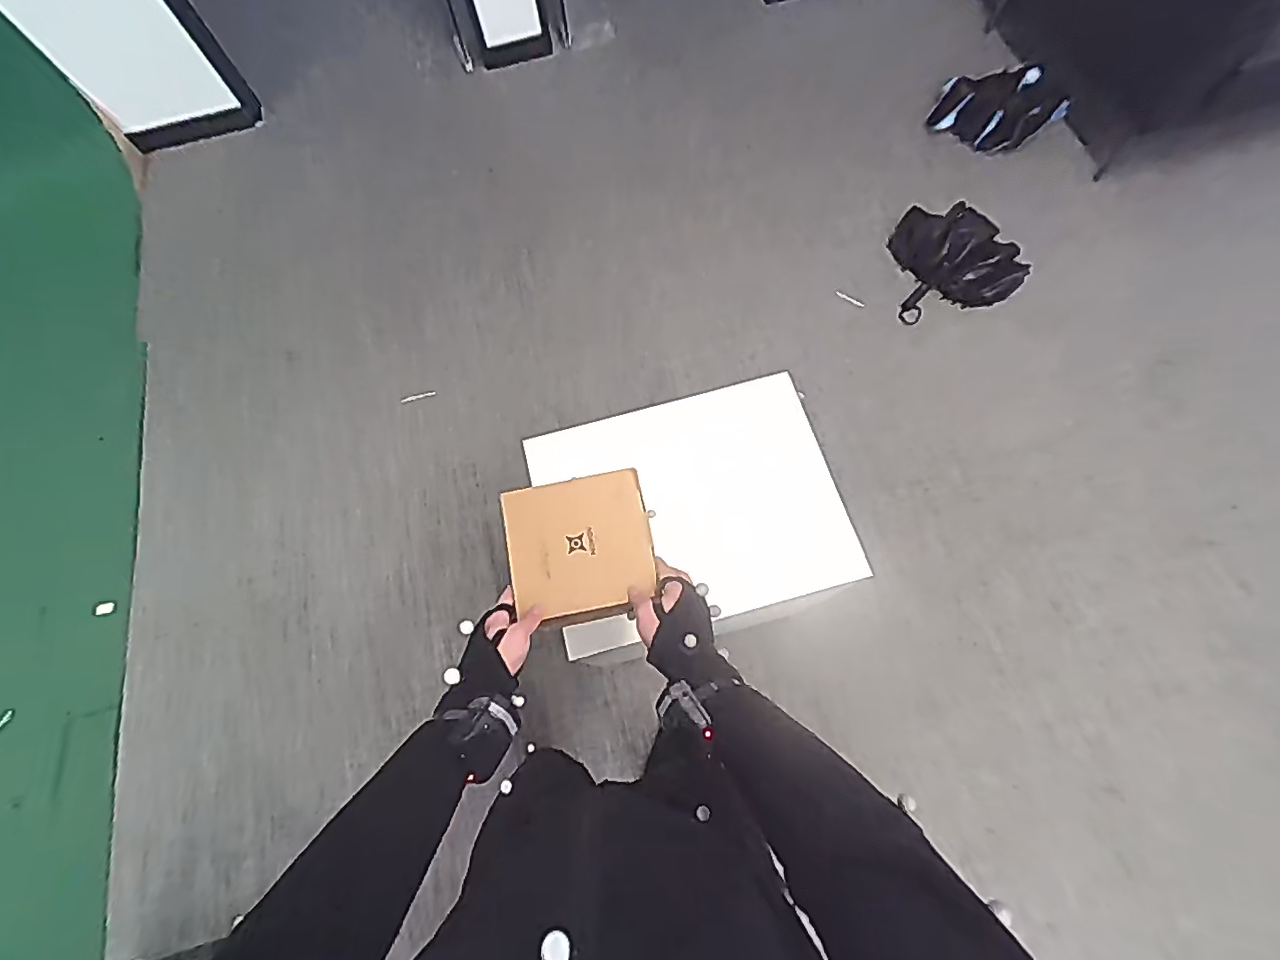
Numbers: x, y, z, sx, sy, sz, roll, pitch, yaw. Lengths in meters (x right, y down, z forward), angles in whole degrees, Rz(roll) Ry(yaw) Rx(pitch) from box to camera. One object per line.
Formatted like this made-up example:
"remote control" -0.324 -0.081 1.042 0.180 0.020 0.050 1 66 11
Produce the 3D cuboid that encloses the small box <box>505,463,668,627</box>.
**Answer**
"small box" -0.067 0.094 0.720 0.179 0.176 0.168 -11 71 -3
